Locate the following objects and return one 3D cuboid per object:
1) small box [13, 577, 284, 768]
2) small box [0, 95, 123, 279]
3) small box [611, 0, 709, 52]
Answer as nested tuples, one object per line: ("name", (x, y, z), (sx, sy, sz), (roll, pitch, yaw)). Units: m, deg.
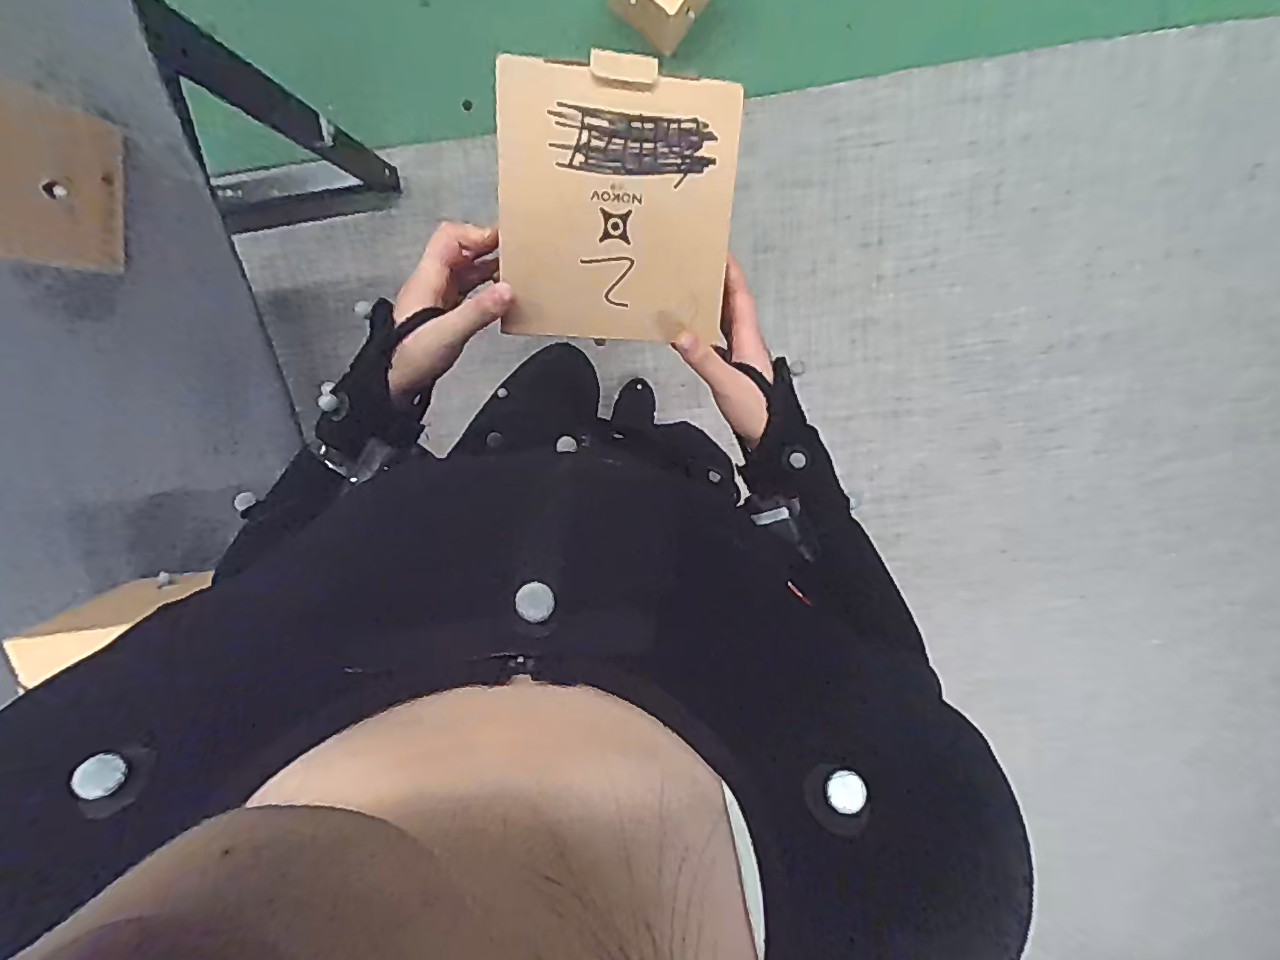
("small box", (-0.623, 0.242, 0.711), (0.179, 0.176, 0.168), (-8, 104, 3))
("small box", (-0.701, -0.318, 0.569), (0.179, 0.176, 0.168), (12, 103, -1))
("small box", (0.049, -1.061, 1.143), (0.179, 0.176, 0.168), (37, 101, -8))
